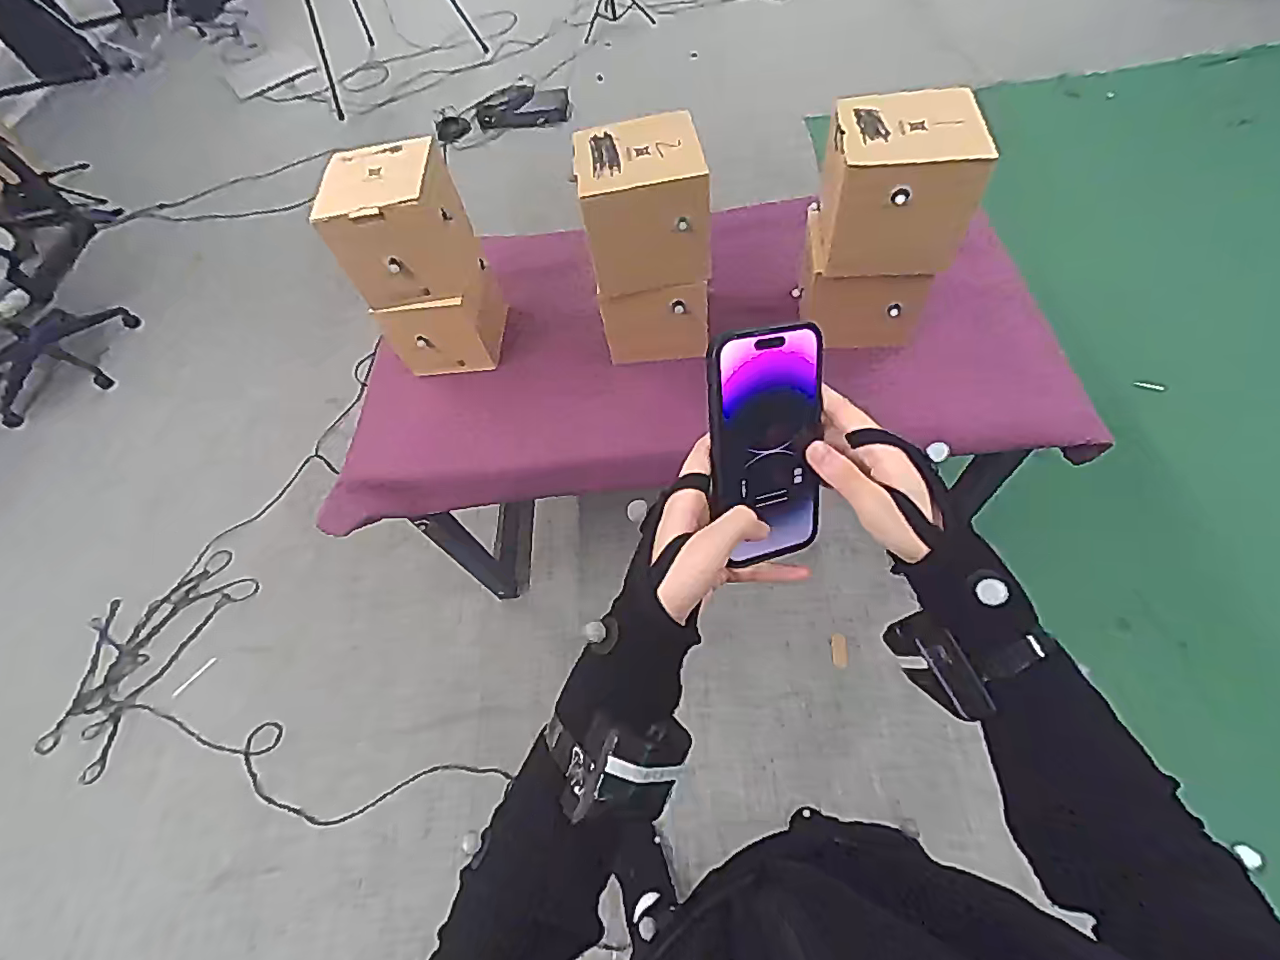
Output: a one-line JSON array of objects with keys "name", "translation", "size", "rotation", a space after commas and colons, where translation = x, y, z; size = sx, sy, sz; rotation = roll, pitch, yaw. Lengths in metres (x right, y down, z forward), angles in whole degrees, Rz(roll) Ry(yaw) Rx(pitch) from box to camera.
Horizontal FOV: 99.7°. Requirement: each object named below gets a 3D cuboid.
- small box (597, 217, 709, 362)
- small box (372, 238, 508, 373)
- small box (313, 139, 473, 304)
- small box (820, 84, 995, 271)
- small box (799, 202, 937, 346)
[{"name": "small box", "translation": [0.029, -0.327, 0.948], "size": [0.179, 0.176, 0.168], "rotation": [-5, 59, 7]}, {"name": "small box", "translation": [-0.358, -0.313, 1.006], "size": [0.168, 0.176, 0.179], "rotation": [-4, 59, 7]}, {"name": "small box", "translation": [-0.381, -0.404, 0.870], "size": [0.168, 0.176, 0.179], "rotation": [-8, 59, 4]}, {"name": "small box", "translation": [0.352, -0.411, 0.754], "size": [0.179, 0.176, 0.168], "rotation": [1, 59, 9]}, {"name": "small box", "translation": [0.366, -0.341, 0.902], "size": [0.179, 0.176, 0.168], "rotation": [1, 59, 11]}]
